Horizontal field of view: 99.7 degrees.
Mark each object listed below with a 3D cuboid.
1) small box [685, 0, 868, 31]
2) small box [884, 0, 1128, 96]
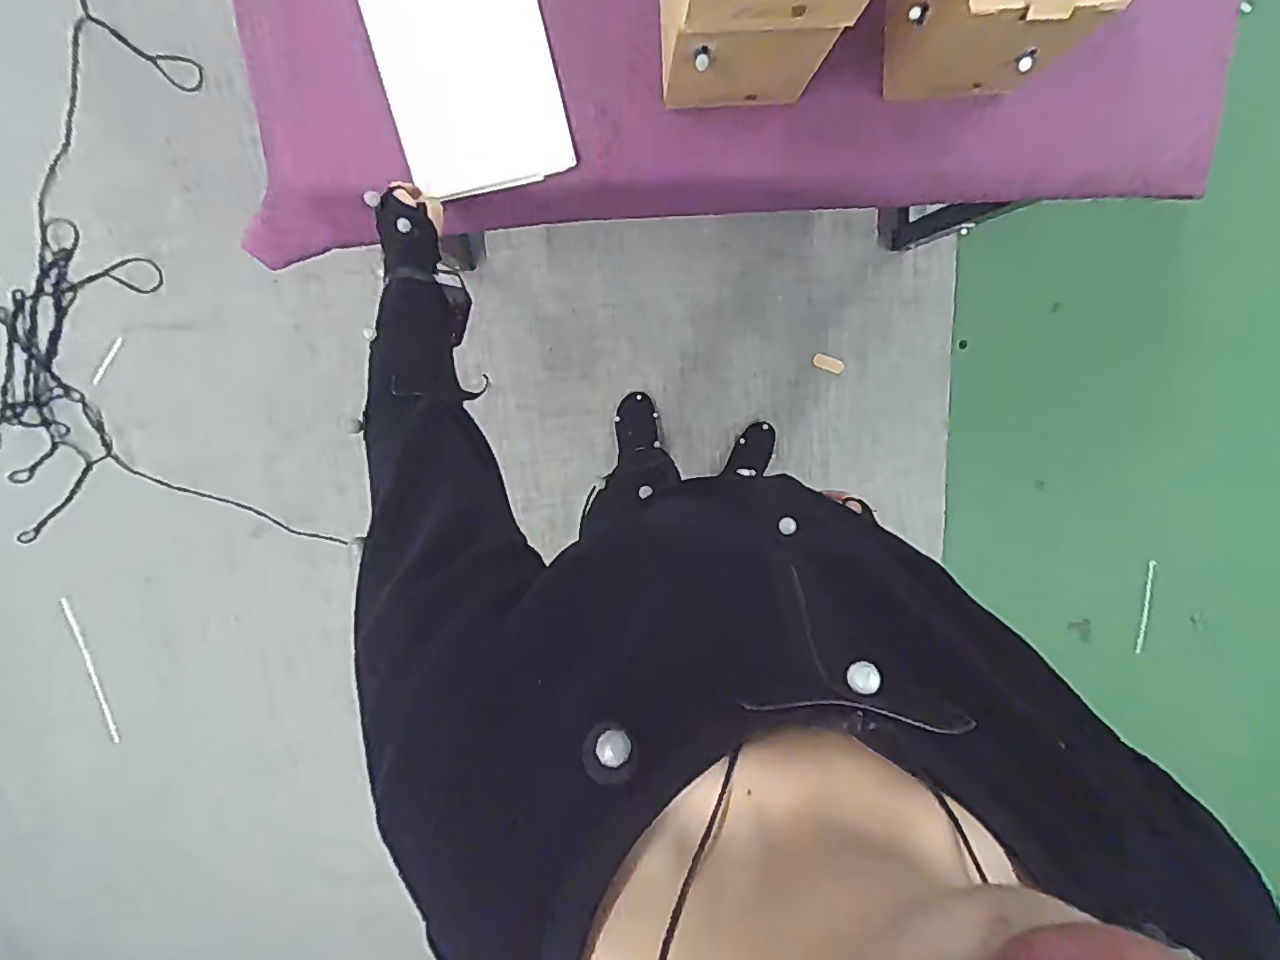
[{"bbox_3d":[0.122,-0.489,0.418,0.168,0.176,0.179,-3,101,-2],"label":"small box"},{"bbox_3d":[0.384,-0.547,0.585,0.168,0.176,0.179,-3,101,-3],"label":"small box"}]
